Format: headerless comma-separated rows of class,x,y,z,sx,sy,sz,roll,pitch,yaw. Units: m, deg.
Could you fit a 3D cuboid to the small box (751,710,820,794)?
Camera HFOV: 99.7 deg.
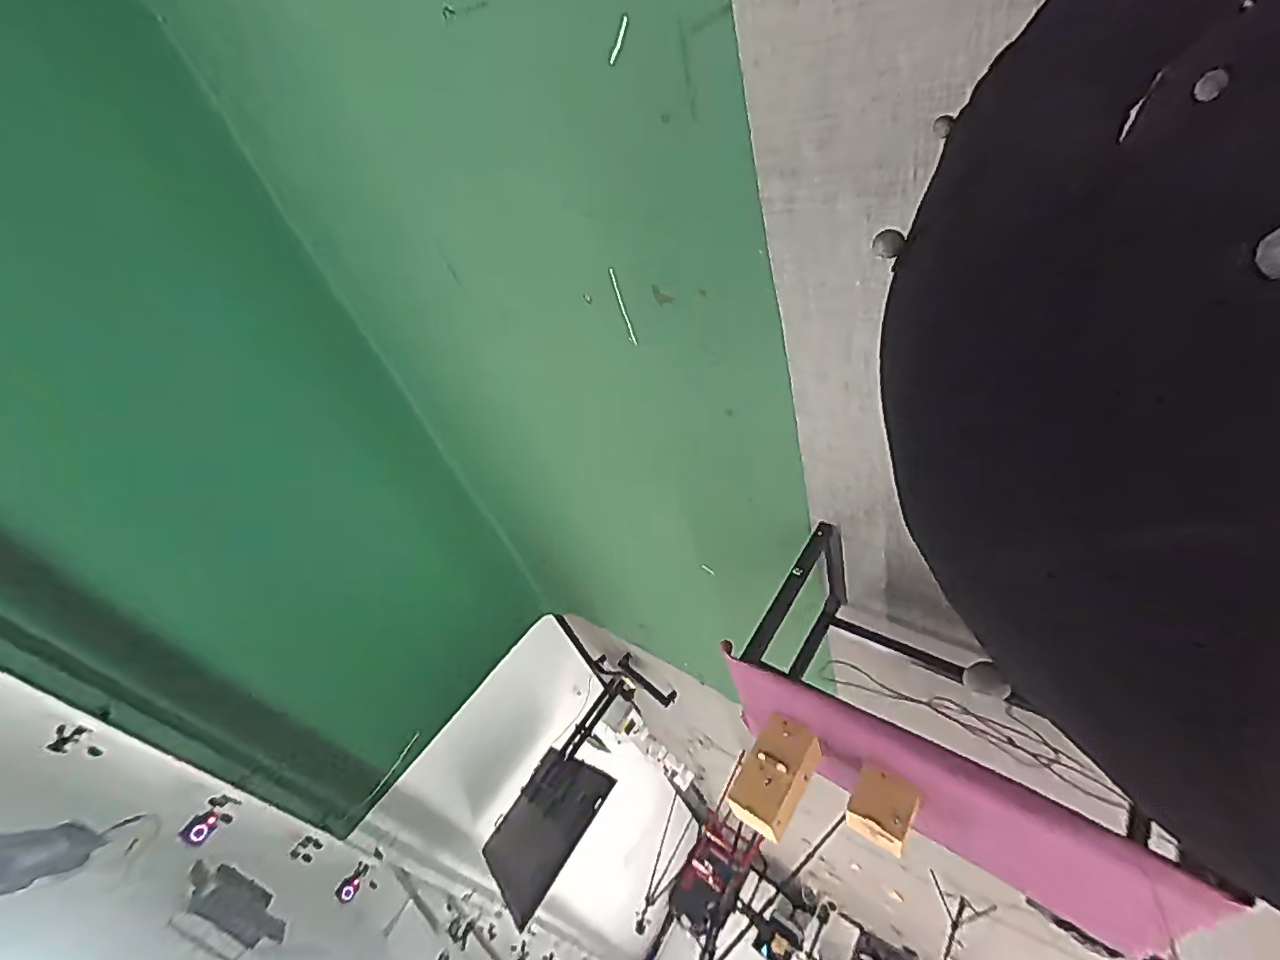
small box,0.511,0.940,1.877,0.168,0.176,0.179,13,140,38

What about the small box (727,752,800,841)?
small box,0.417,1.049,1.802,0.168,0.176,0.179,14,140,38
